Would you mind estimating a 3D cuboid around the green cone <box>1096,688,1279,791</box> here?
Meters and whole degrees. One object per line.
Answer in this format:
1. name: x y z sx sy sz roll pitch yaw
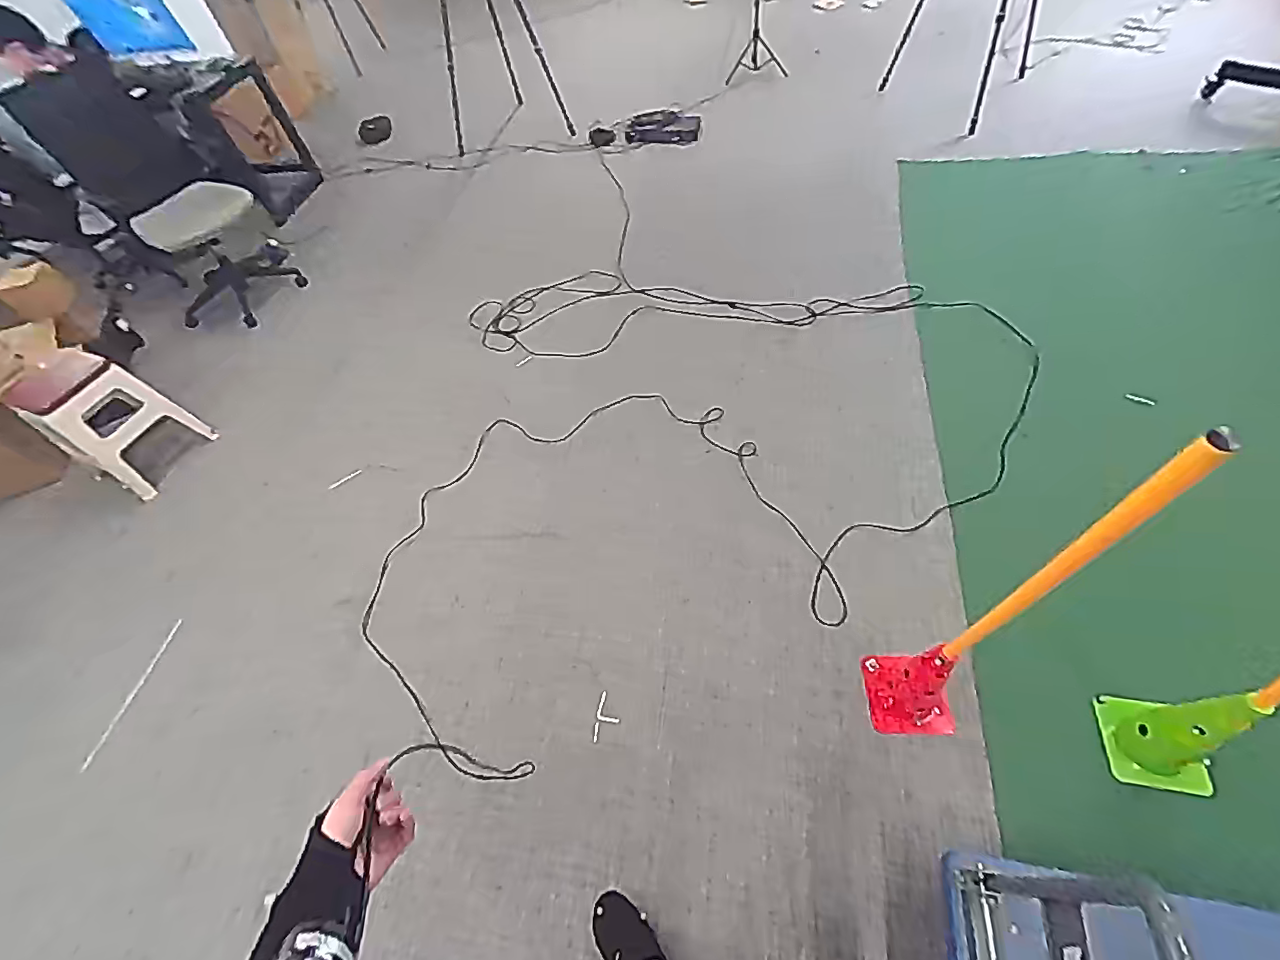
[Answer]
1. green cone: 1.209 0.520 1.157 0.202 0.368 0.200 5 55 11
